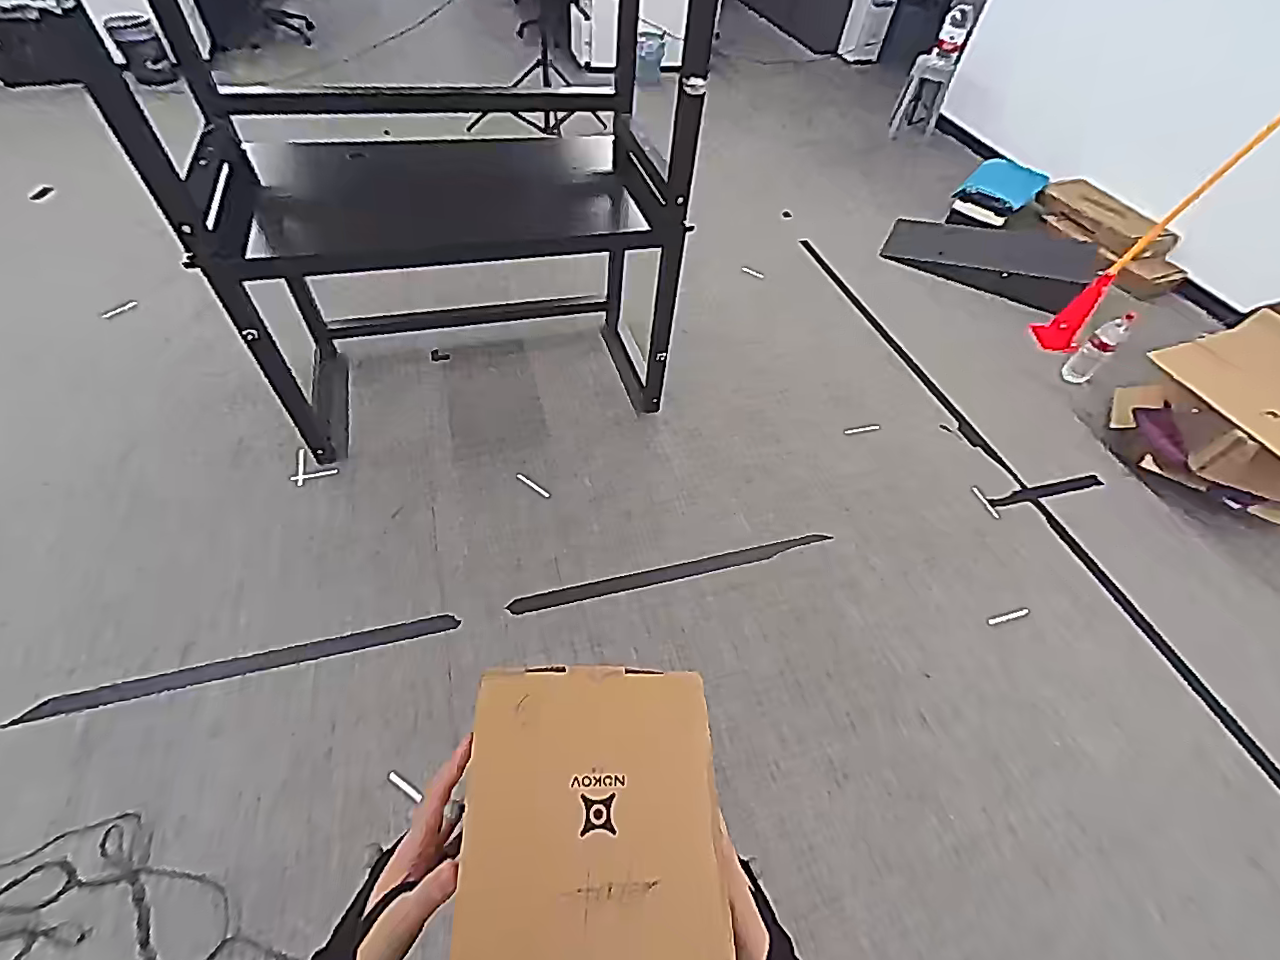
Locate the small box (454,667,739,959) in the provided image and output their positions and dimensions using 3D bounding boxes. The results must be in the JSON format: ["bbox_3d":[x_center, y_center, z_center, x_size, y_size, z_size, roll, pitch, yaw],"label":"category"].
[{"bbox_3d":[-0.044,0.255,0.407,0.168,0.176,0.179,6,54,-13],"label":"small box"}]
